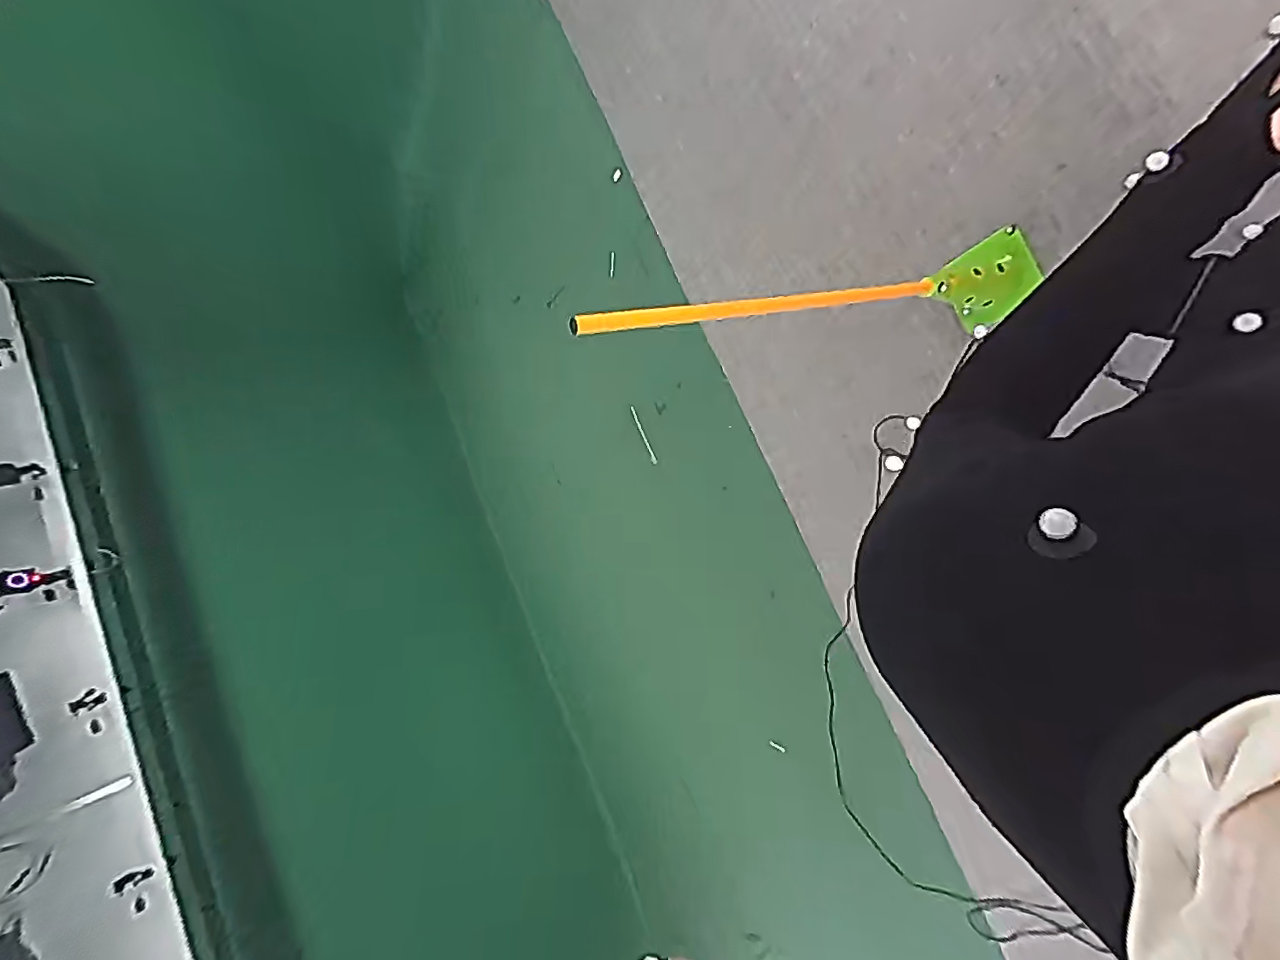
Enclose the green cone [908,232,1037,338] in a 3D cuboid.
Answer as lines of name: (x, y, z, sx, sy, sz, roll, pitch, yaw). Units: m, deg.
green cone: (0.732, -0.446, 1.277, 0.200, 0.368, 0.202, -32, 79, 54)
